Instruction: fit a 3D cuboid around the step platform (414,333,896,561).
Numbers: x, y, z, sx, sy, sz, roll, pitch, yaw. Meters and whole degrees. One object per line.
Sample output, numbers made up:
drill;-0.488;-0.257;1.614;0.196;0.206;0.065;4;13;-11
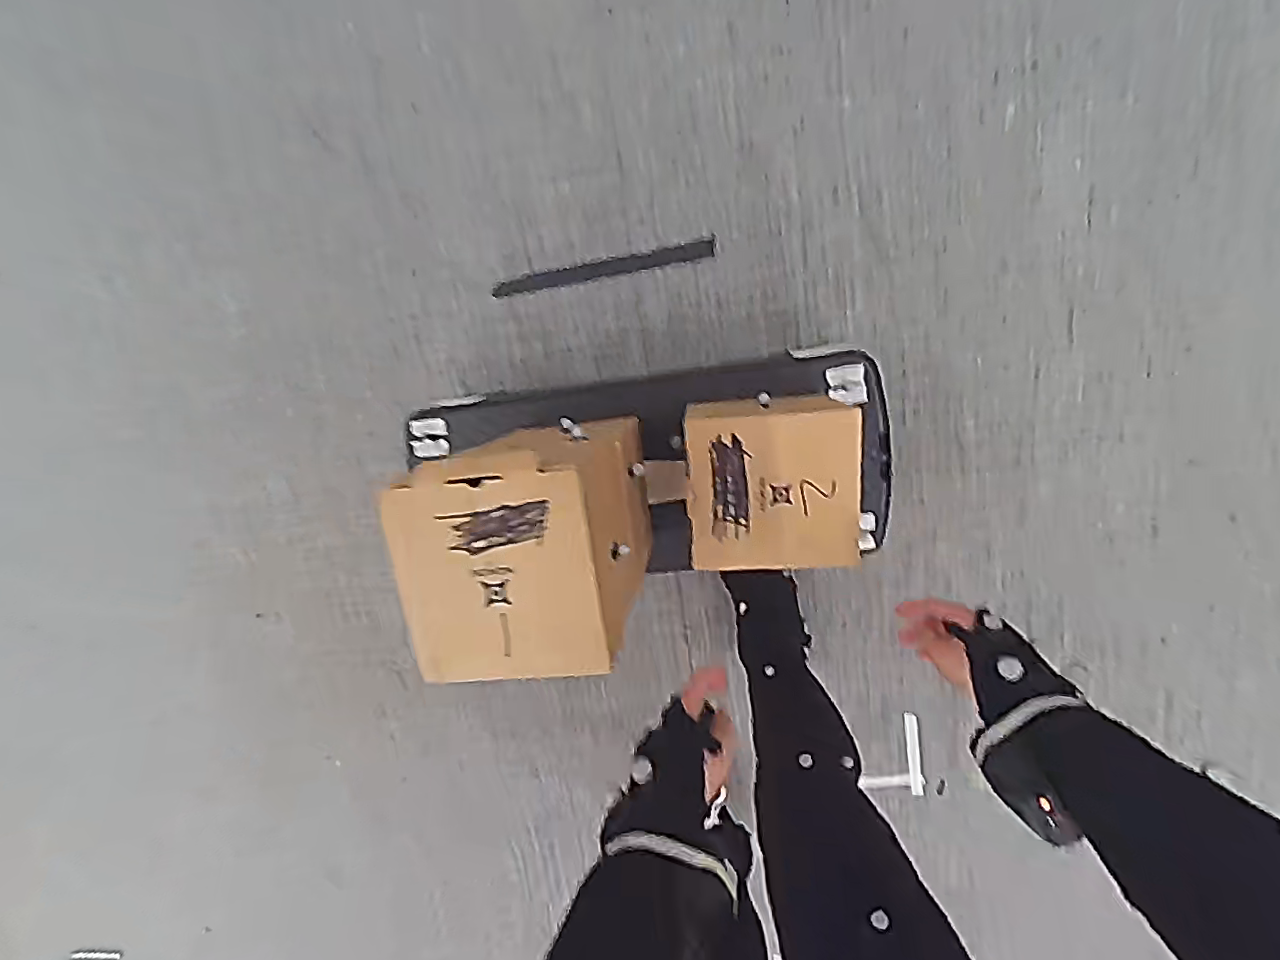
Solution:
step platform;0.015;-0.035;0.827;0.684;0.204;0.286;-7;102;9

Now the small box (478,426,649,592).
small box;-0.083;0.030;0.674;0.168;0.176;0.179;-5;102;8

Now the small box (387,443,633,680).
small box;-0.104;0.063;0.514;0.168;0.176;0.179;-5;102;8
